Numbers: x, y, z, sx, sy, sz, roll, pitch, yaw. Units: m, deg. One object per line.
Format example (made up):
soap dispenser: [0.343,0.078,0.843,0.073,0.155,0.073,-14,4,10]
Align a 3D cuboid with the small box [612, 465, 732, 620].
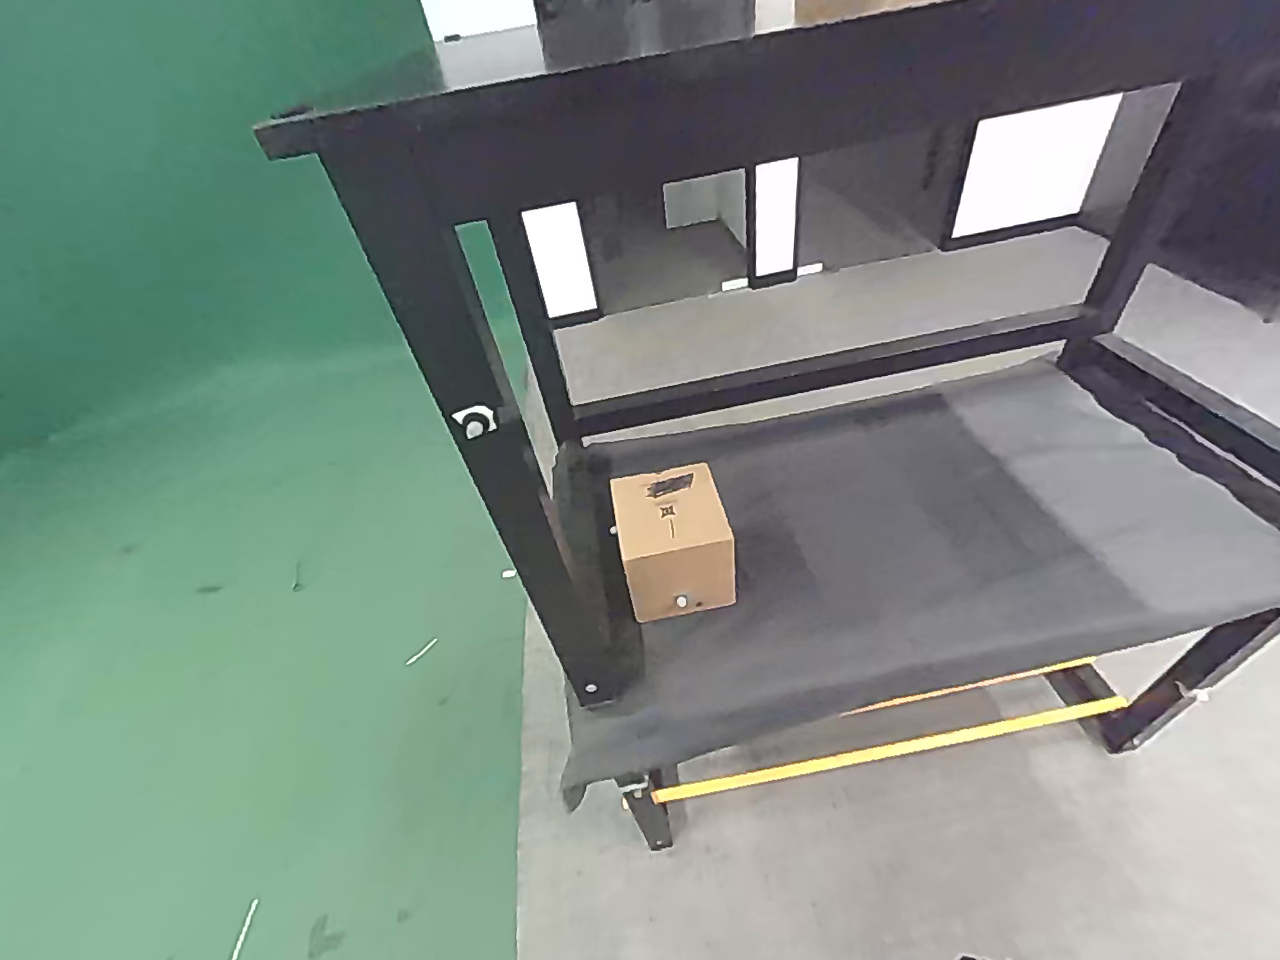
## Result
small box: [0.051,0.103,0.897,0.168,0.176,0.179,-11,43,-1]

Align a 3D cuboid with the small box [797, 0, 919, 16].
small box: [0.221,-0.457,0.387,0.168,0.176,0.179,-11,42,0]
